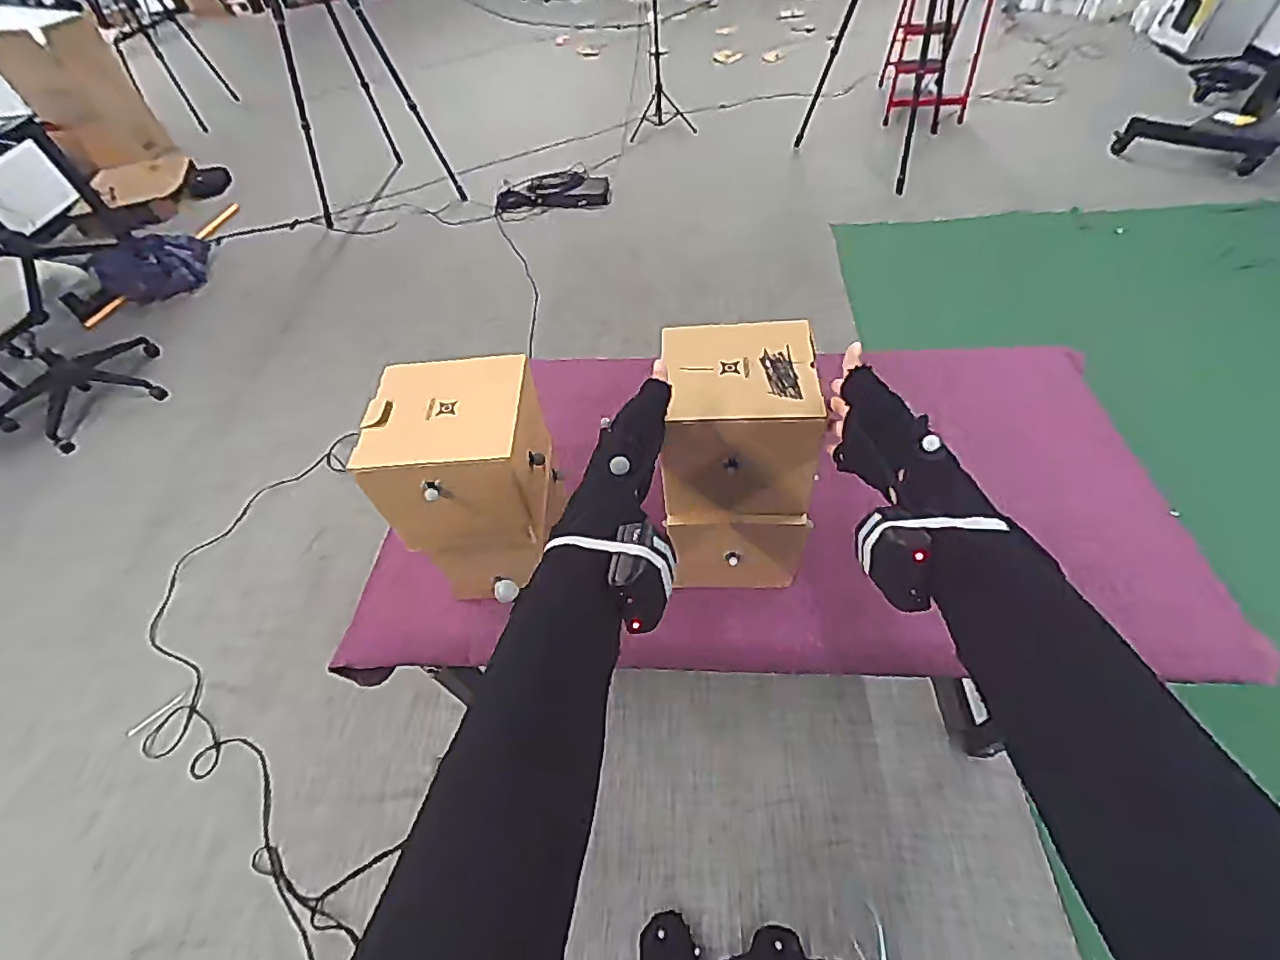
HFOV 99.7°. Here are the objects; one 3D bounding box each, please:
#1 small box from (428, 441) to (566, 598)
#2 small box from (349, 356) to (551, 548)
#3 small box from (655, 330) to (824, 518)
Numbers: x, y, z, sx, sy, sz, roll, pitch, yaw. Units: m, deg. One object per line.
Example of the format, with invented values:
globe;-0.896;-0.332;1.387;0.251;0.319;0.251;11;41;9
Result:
small box;-0.207;0.058;0.808;0.168;0.176;0.179;-4;52;2
small box;-0.213;-0.029;0.668;0.179;0.176;0.168;-5;52;3
small box;0.115;-0.065;0.669;0.179;0.176;0.168;0;51;7
